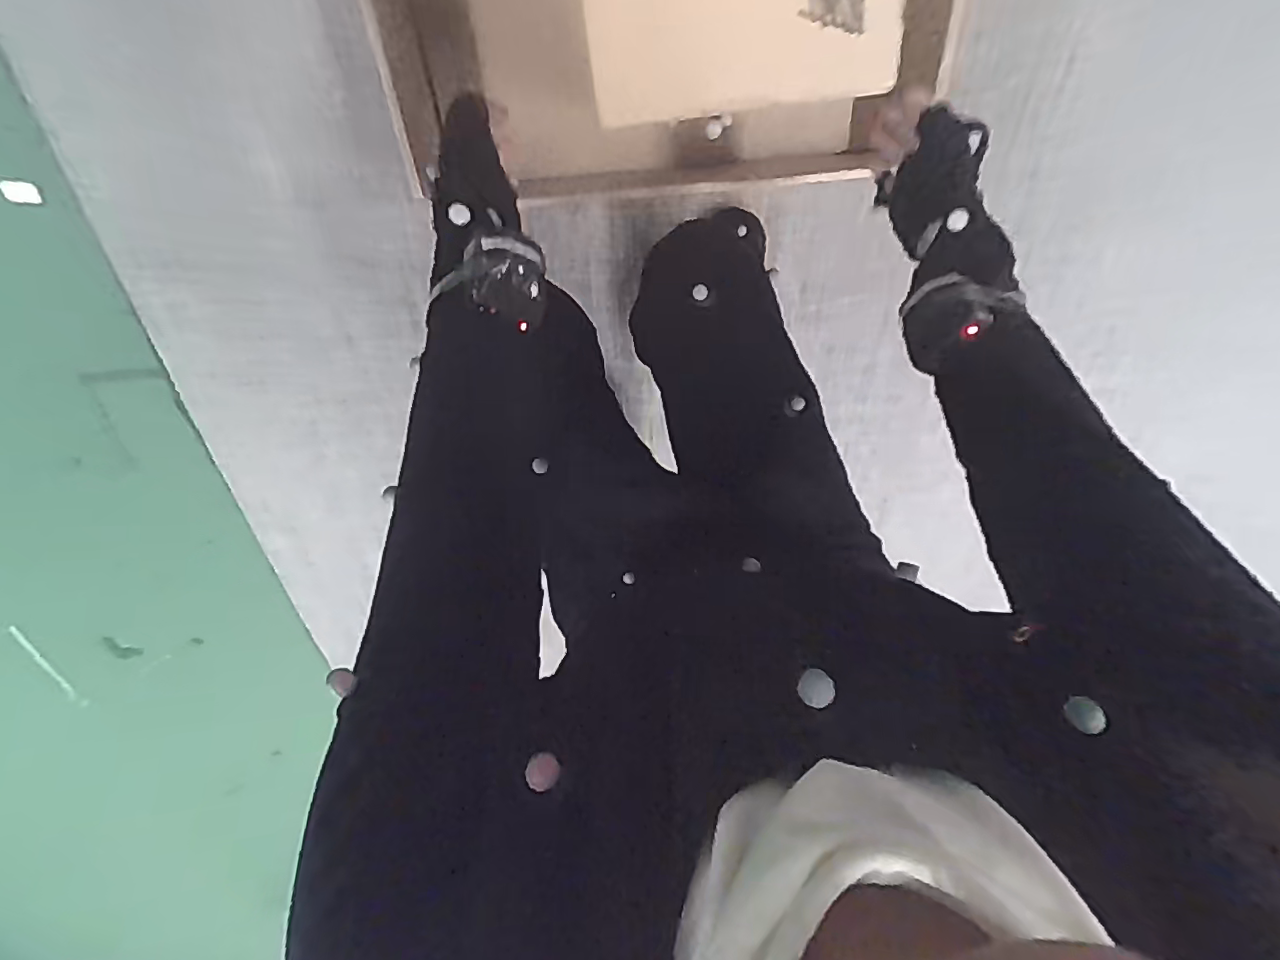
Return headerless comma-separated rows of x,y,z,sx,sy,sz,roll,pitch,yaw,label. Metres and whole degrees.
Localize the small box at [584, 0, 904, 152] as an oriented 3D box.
0.050,-0.327,0.349,0.179,0.176,0.168,-9,125,3,small box
